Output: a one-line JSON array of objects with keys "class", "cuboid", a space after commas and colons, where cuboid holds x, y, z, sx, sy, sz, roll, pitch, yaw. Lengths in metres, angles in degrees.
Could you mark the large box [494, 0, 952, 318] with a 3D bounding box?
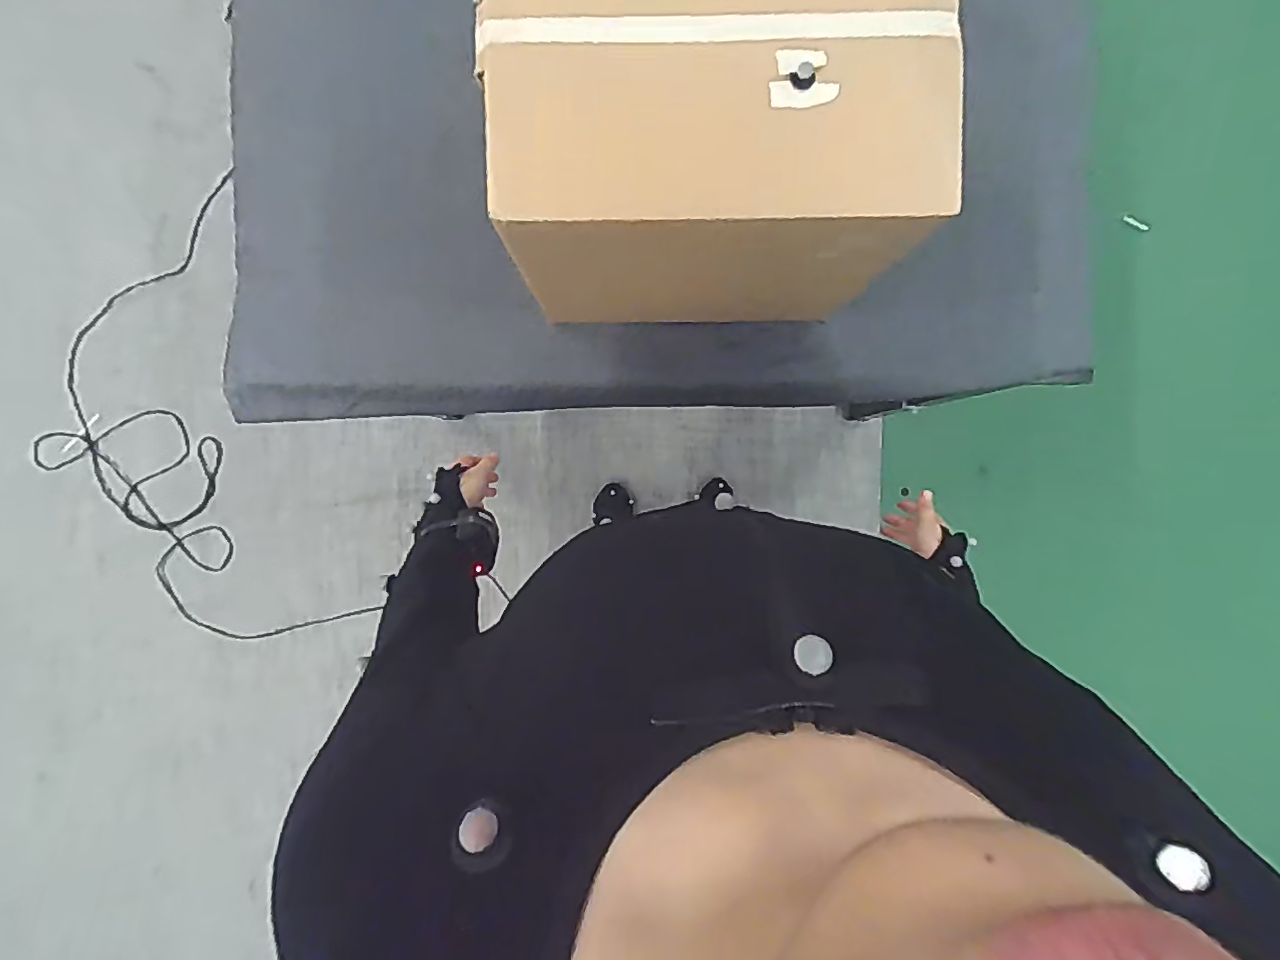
[{"class": "large box", "cuboid": [0.069, -0.388, 0.621, 0.408, 0.320, 0.320, -1, 91, 0]}]
